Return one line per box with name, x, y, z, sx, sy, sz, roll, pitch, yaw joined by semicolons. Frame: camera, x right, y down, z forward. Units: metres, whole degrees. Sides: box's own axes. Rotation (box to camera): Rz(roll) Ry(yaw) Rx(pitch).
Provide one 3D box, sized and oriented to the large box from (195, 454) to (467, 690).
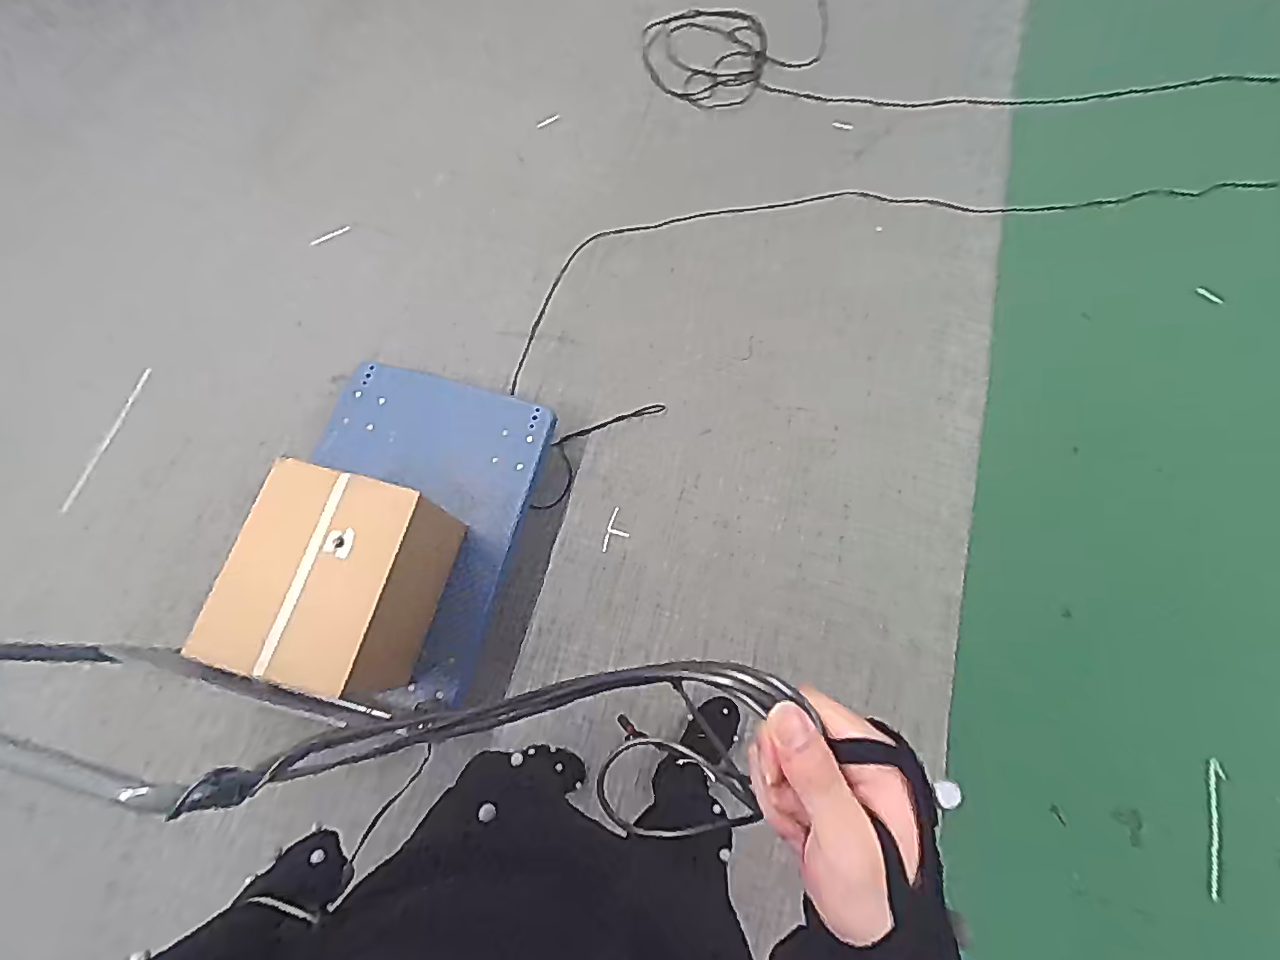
large box;-0.625;0.210;1.177;0.320;0.320;0.408;14;73;4
